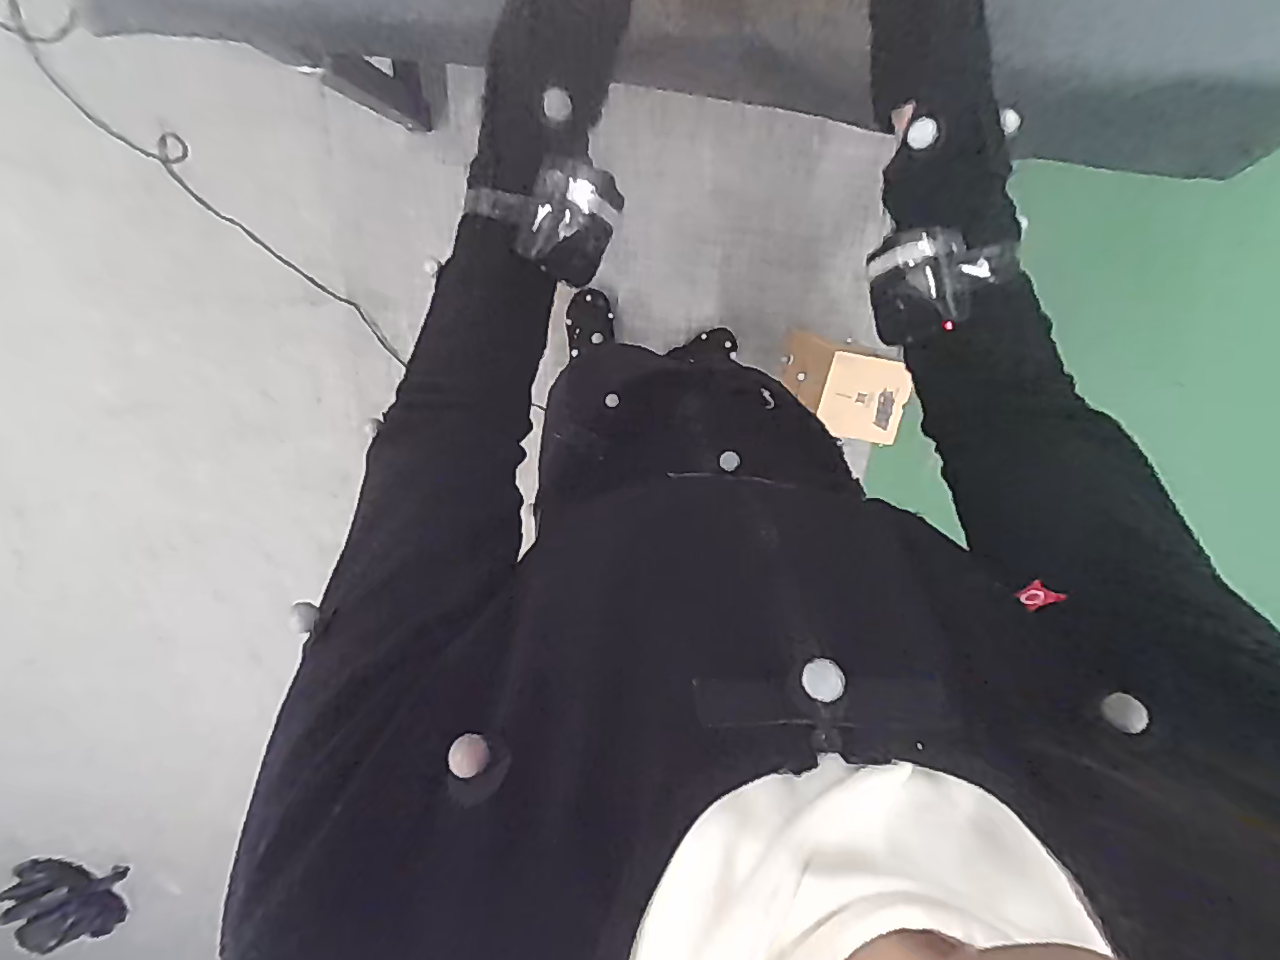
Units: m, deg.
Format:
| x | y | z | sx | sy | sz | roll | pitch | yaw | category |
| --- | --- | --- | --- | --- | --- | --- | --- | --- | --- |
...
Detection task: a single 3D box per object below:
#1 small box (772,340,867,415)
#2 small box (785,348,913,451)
| x | y | z | sx | sy | sz | roll | pitch | yaw | category |
| --- | --- | --- | --- | --- | --- | --- | --- | --- | --- |
| 0.439 | -0.234 | 1.302 | 0.179 | 0.176 | 0.168 | 11 | 110 | -4 | small box |
| 0.432 | -0.176 | 1.147 | 0.179 | 0.176 | 0.168 | 10 | 110 | -5 | small box |
